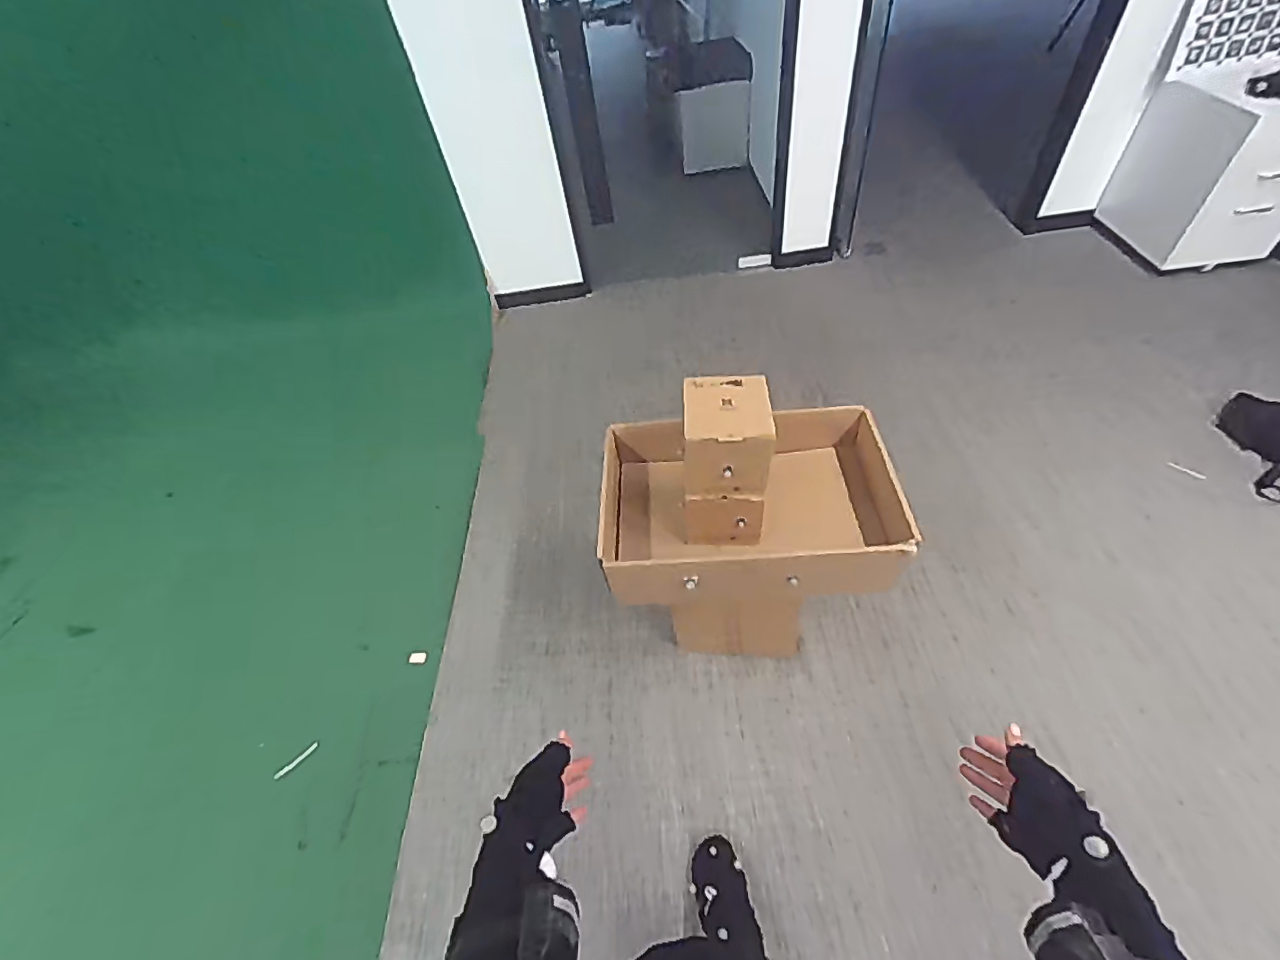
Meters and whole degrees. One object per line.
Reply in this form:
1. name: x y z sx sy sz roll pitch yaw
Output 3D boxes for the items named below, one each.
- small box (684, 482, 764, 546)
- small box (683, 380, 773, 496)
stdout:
1. small box: 0.183 0.035 1.213 0.168 0.176 0.179 -1 47 5
2. small box: 0.172 -0.080 1.096 0.168 0.176 0.179 -1 50 4
